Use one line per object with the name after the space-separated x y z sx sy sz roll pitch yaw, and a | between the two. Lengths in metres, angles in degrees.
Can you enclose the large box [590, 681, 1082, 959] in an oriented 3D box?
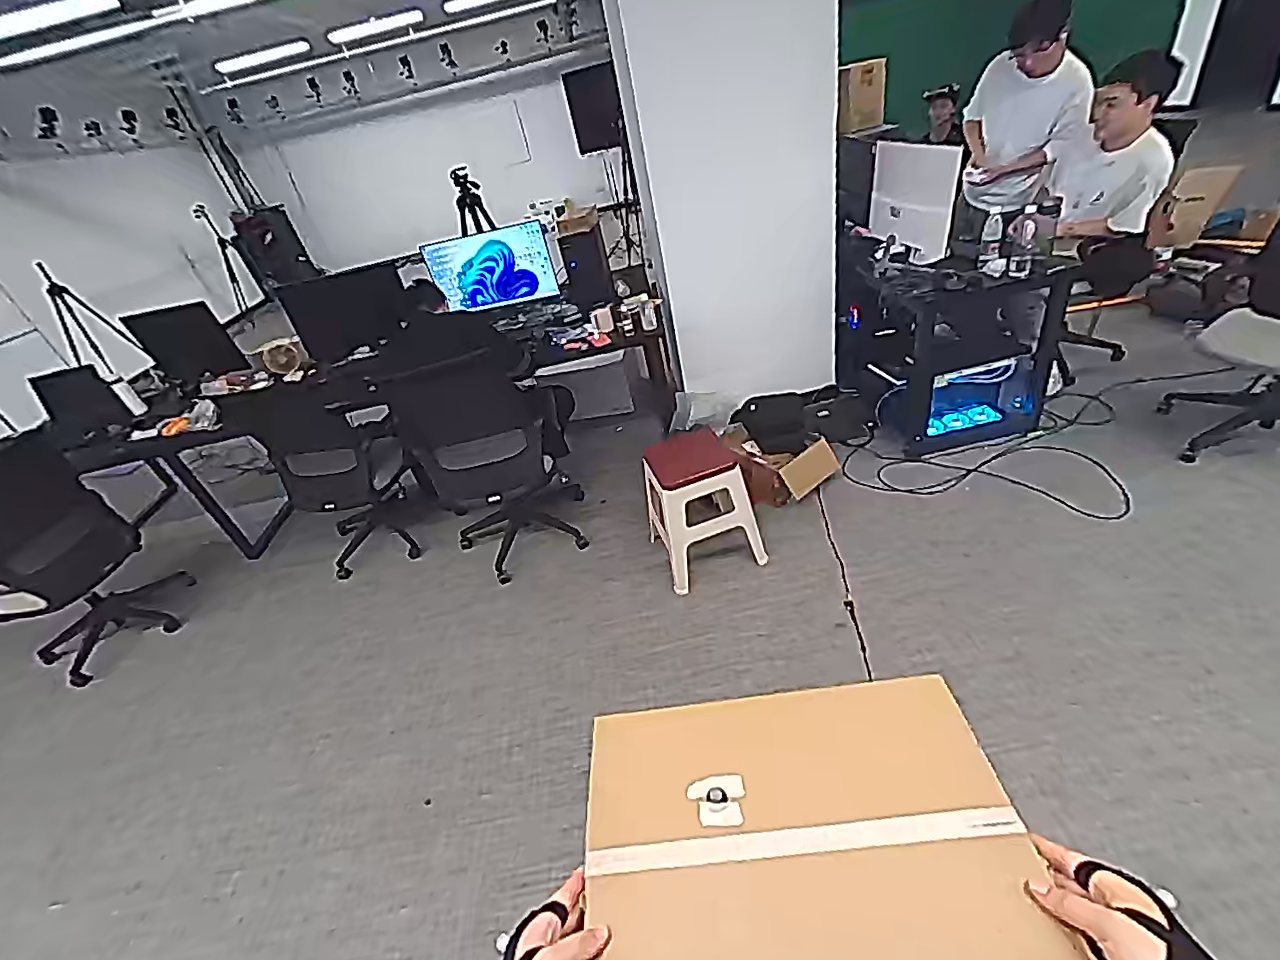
0.179 0.472 0.600 0.408 0.320 0.320 -11 34 6 | large box
